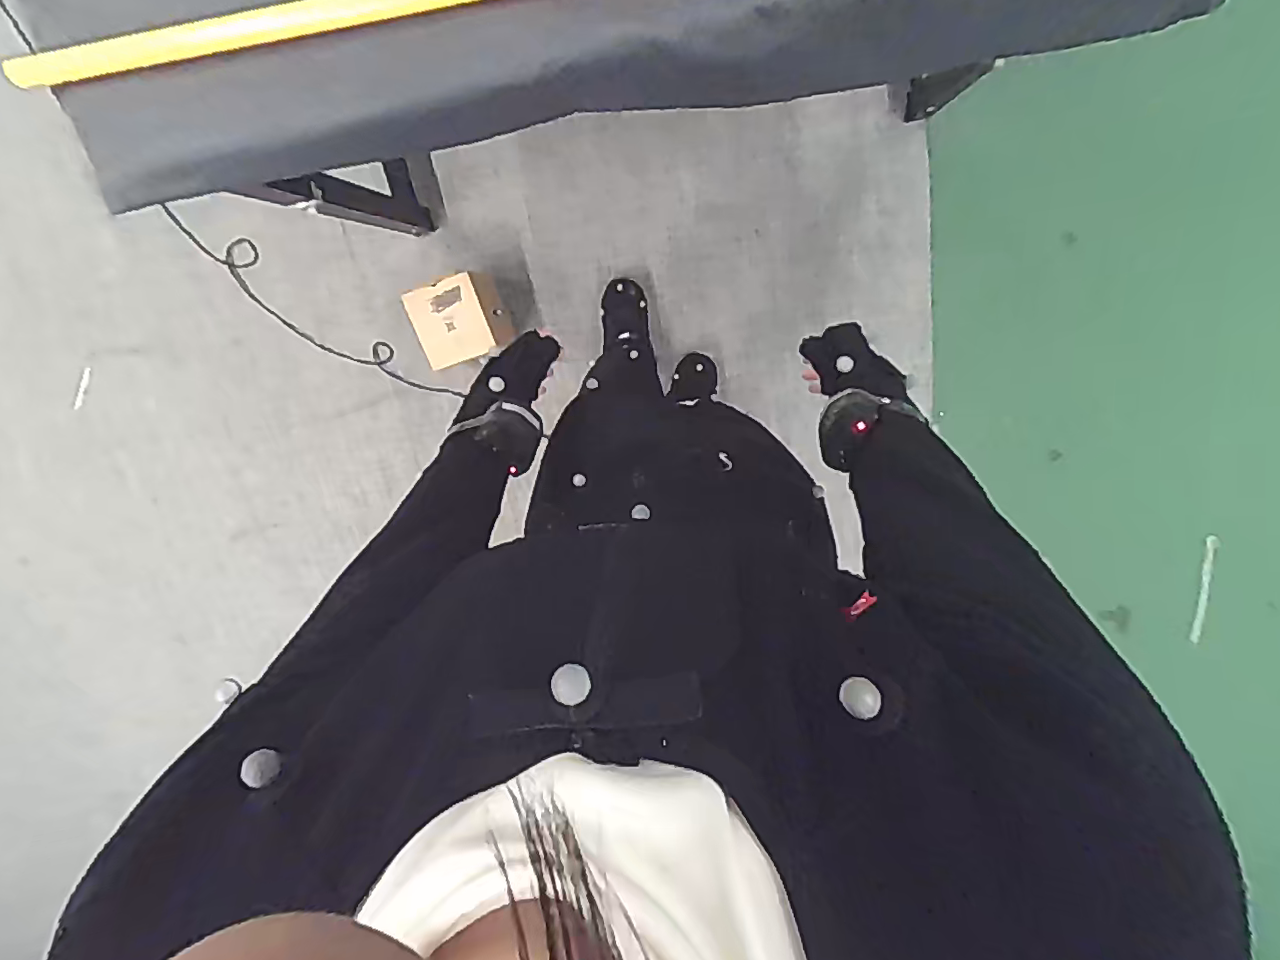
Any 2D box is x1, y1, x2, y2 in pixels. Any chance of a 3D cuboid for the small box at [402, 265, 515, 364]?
[{"bbox_3d":[-0.415,-0.387,1.268,0.168,0.176,0.179,-15,107,10],"label":"small box"}]
